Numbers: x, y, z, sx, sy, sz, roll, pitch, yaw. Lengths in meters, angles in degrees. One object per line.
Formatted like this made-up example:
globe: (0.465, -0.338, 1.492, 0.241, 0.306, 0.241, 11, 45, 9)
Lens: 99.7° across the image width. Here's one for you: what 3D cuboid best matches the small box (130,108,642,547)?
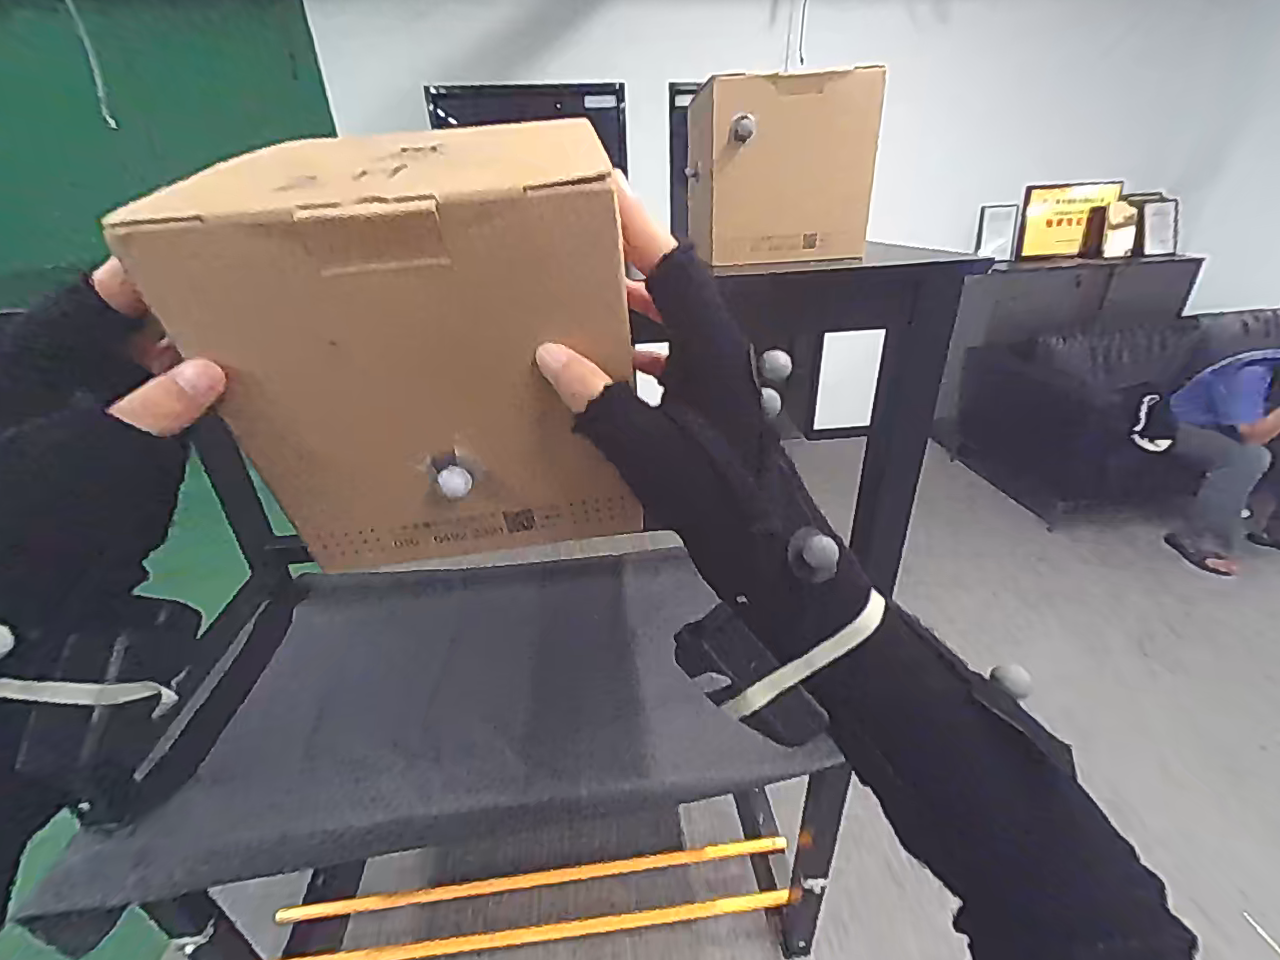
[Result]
small box: (-0.092, -0.089, 0.294, 0.168, 0.176, 0.179, -8, 40, -3)
